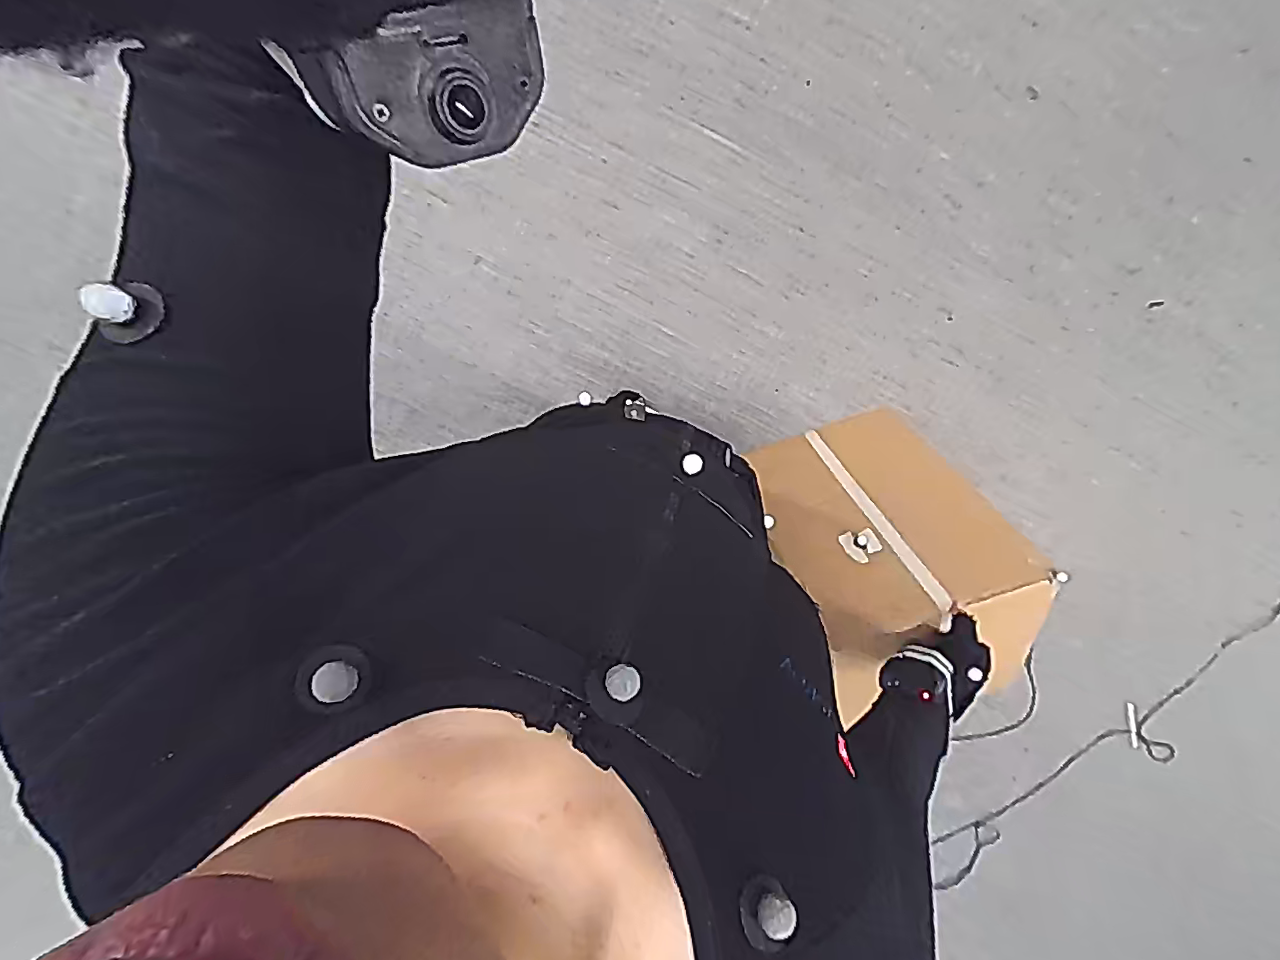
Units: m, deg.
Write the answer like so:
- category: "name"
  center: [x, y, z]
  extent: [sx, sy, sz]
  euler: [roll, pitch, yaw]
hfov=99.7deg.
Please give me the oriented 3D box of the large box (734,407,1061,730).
- category: "large box"
  center: [0.389, 0.142, 0.940]
  extent: [0.320, 0.408, 0.320]
  euler: [-19, 133, 0]
